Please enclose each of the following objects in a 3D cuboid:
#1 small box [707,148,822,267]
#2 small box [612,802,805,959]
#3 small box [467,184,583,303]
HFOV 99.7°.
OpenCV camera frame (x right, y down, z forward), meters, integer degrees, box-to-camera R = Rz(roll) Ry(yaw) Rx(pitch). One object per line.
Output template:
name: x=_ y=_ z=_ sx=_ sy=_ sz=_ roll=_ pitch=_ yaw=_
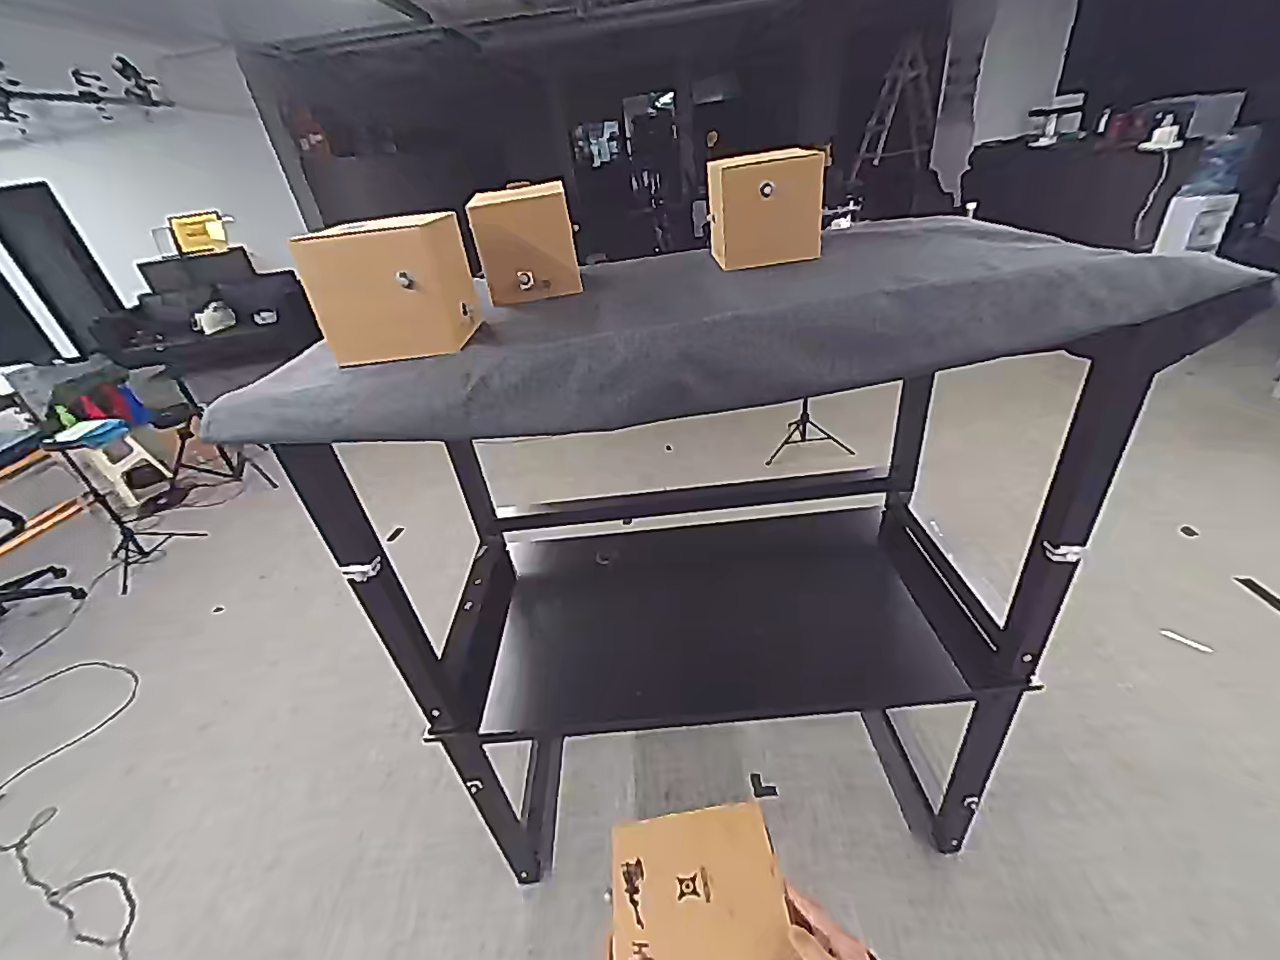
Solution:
small box: x=0.225 y=-0.502 z=0.999 sx=0.179 sy=0.176 sz=0.168 roll=-7 pitch=33 yaw=3
small box: x=0.070 y=0.487 z=0.578 sx=0.179 sy=0.176 sz=0.168 roll=-9 pitch=19 yaw=2
small box: x=-0.204 y=-0.439 z=1.001 sx=0.168 sy=0.176 sz=0.179 roll=-11 pitch=33 yaw=-2
